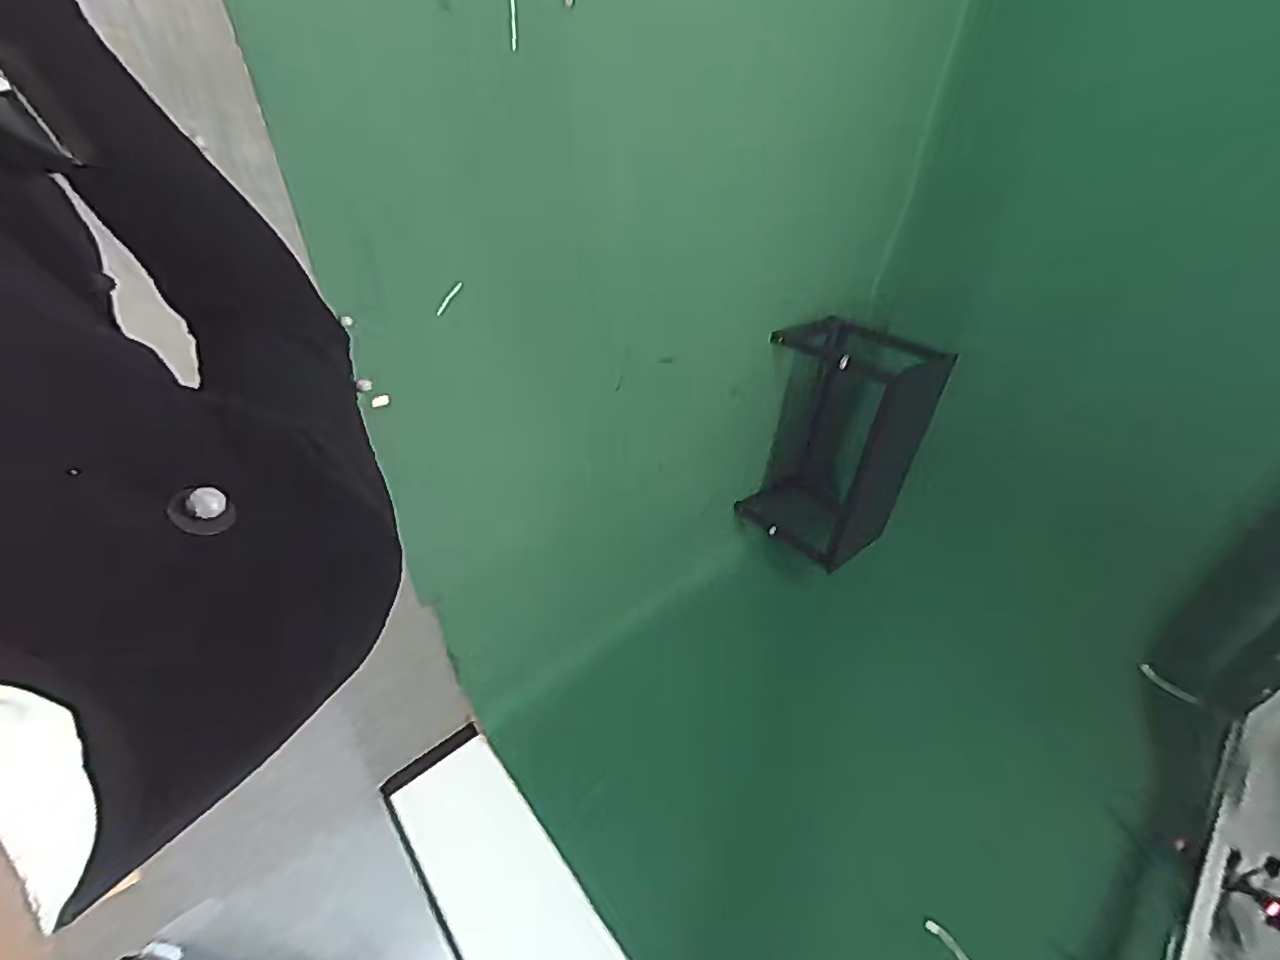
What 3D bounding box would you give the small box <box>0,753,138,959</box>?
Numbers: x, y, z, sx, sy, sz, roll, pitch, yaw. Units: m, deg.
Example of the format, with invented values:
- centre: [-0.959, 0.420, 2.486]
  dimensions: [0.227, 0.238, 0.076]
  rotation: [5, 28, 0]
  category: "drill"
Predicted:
- centre: [-0.862, 0.537, 0.773]
  dimensions: [0.168, 0.176, 0.179]
  rotation: [-22, 132, -36]
  category: "small box"
